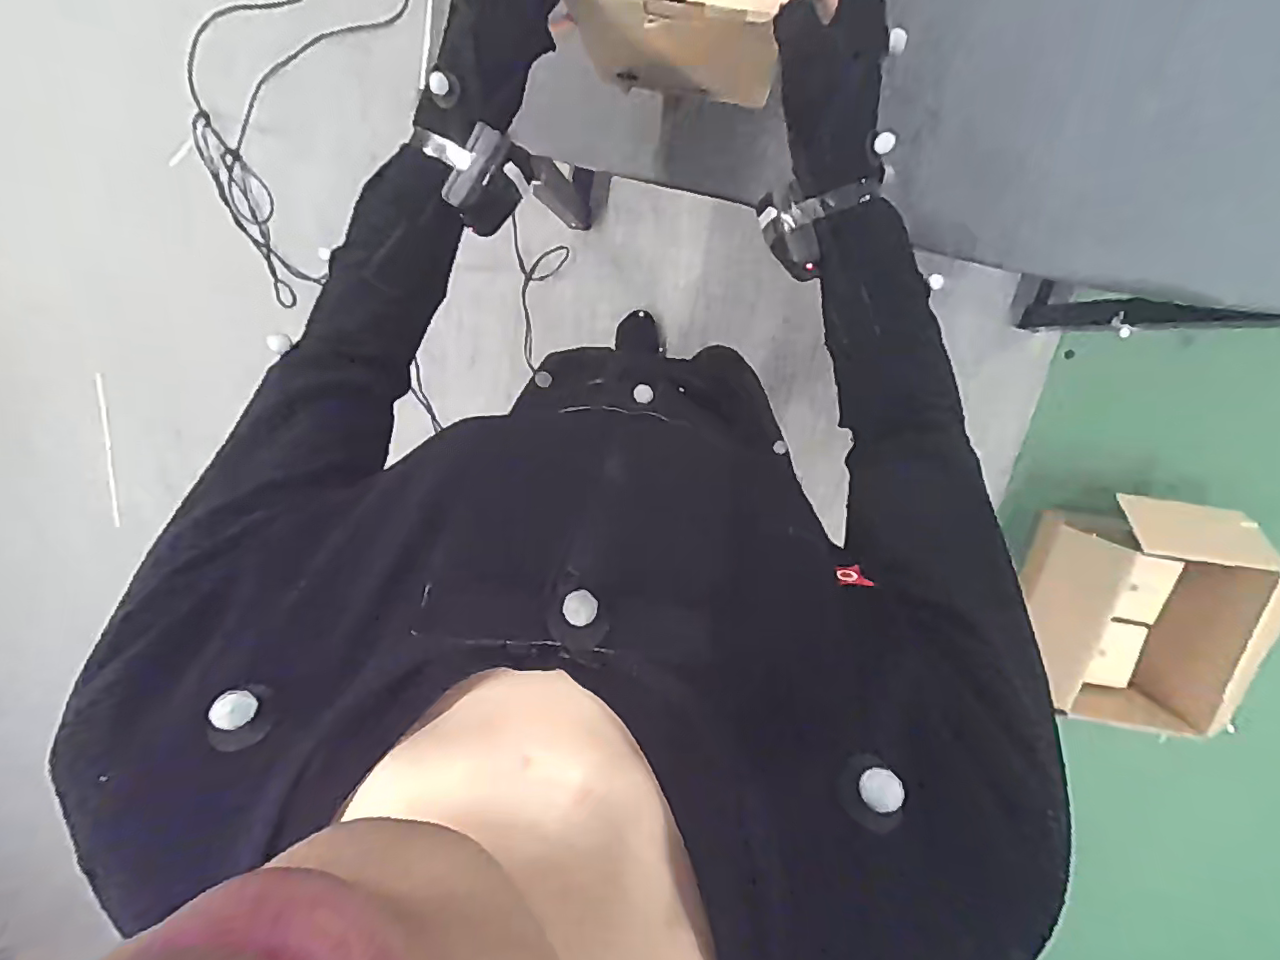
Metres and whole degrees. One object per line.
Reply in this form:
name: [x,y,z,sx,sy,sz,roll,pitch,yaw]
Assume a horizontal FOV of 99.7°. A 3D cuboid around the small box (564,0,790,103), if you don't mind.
small box: [0.045,-0.434,0.428,0.168,0.176,0.179,11,108,2]
